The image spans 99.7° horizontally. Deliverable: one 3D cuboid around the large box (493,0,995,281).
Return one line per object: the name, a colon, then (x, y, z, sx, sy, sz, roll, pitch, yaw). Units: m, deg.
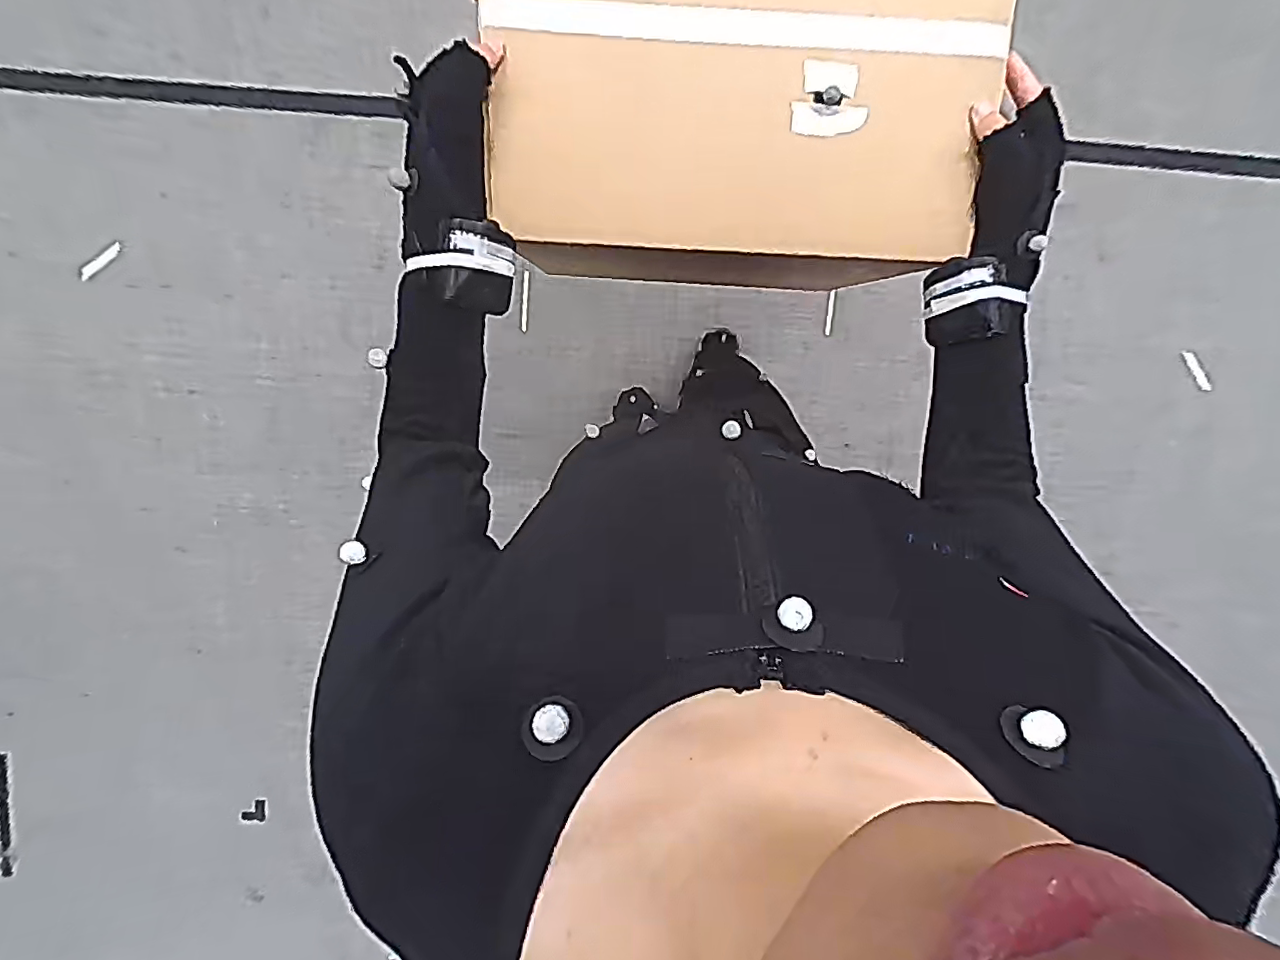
large box: (0.076, -0.393, 0.574, 0.408, 0.320, 0.320, 2, 106, -2)
